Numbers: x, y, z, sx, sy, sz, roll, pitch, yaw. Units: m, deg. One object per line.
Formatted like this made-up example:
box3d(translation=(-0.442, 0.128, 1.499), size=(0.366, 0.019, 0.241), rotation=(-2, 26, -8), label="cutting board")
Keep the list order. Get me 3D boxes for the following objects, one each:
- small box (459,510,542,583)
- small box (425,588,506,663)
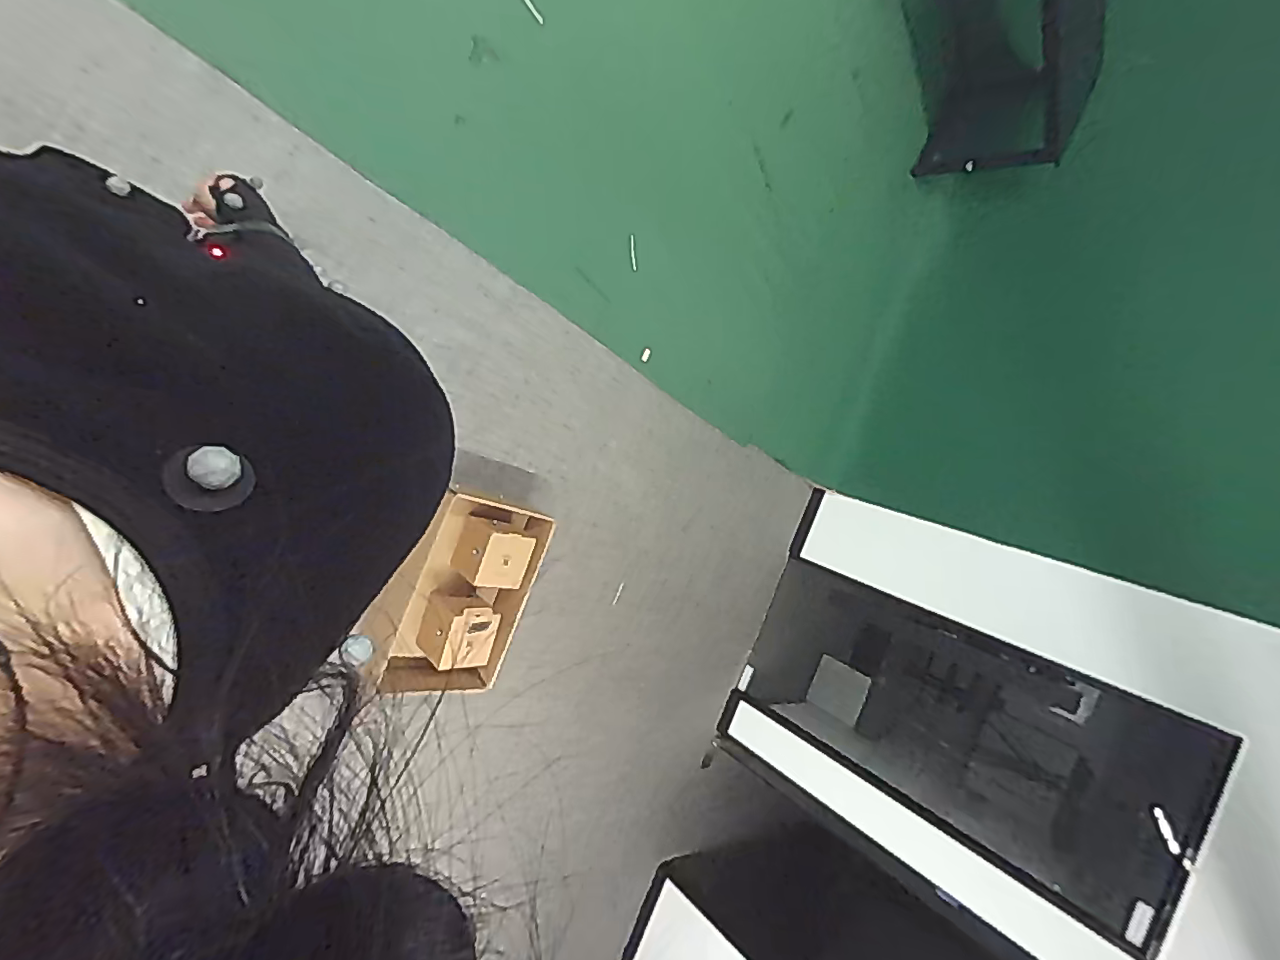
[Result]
box3d(translation=(-0.447, 0.207, 1.711), size=(0.168, 0.176, 0.179), rotation=(18, 95, -46), label="small box")
box3d(translation=(-0.554, 0.450, 1.706), size=(0.168, 0.176, 0.179), rotation=(12, 97, -46), label="small box")
